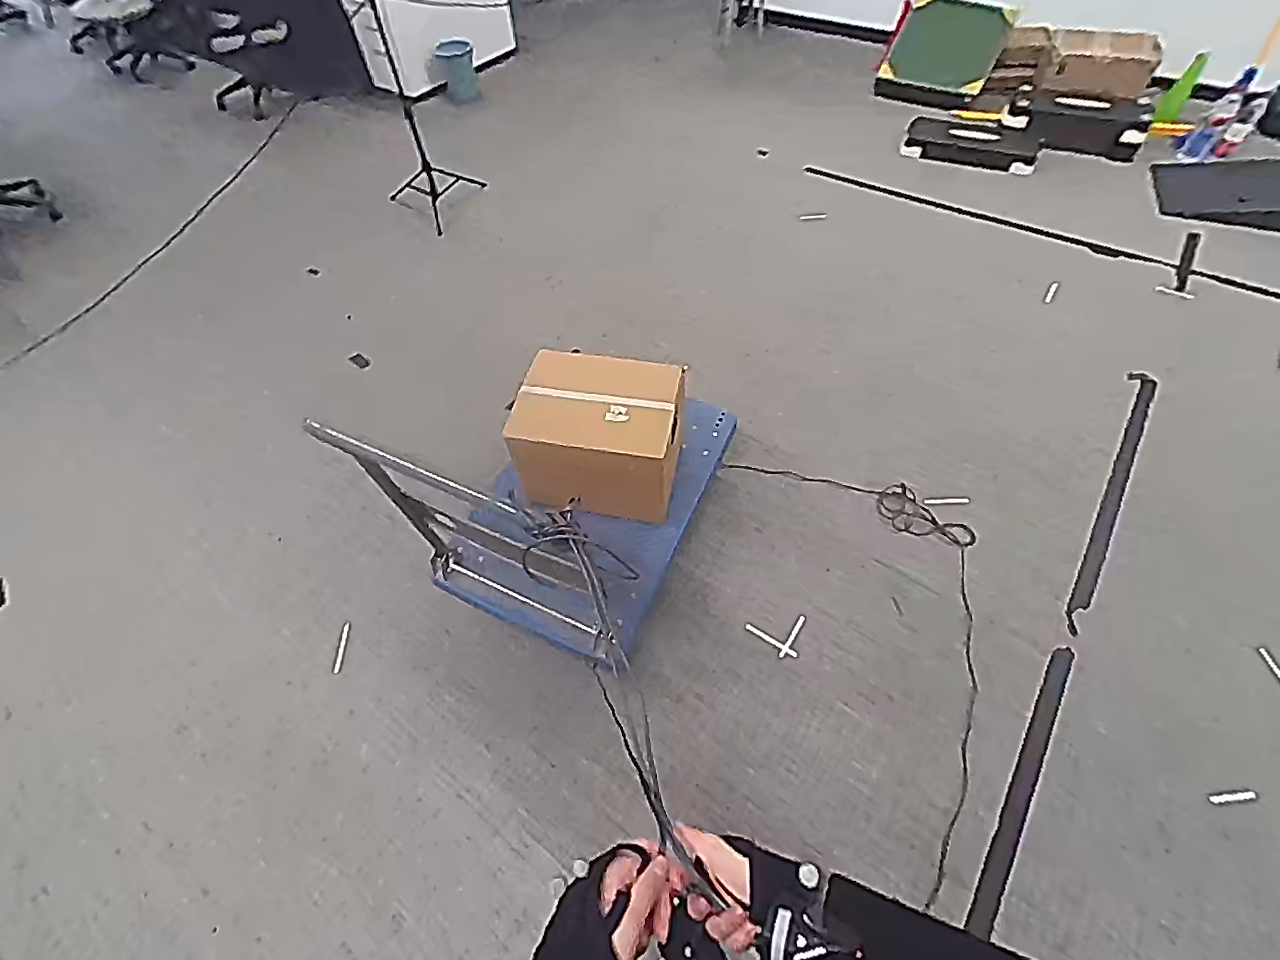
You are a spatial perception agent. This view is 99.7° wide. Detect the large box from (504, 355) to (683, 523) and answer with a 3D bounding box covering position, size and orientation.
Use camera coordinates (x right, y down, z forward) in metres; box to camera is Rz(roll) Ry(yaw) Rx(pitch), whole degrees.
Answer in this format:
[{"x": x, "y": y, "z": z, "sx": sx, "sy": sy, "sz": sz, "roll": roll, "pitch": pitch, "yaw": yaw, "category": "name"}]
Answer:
[{"x": -0.107, "y": -0.109, "z": 1.487, "sx": 0.408, "sy": 0.320, "sz": 0.320, "roll": 9, "pitch": 57, "yaw": 8, "category": "large box"}]
